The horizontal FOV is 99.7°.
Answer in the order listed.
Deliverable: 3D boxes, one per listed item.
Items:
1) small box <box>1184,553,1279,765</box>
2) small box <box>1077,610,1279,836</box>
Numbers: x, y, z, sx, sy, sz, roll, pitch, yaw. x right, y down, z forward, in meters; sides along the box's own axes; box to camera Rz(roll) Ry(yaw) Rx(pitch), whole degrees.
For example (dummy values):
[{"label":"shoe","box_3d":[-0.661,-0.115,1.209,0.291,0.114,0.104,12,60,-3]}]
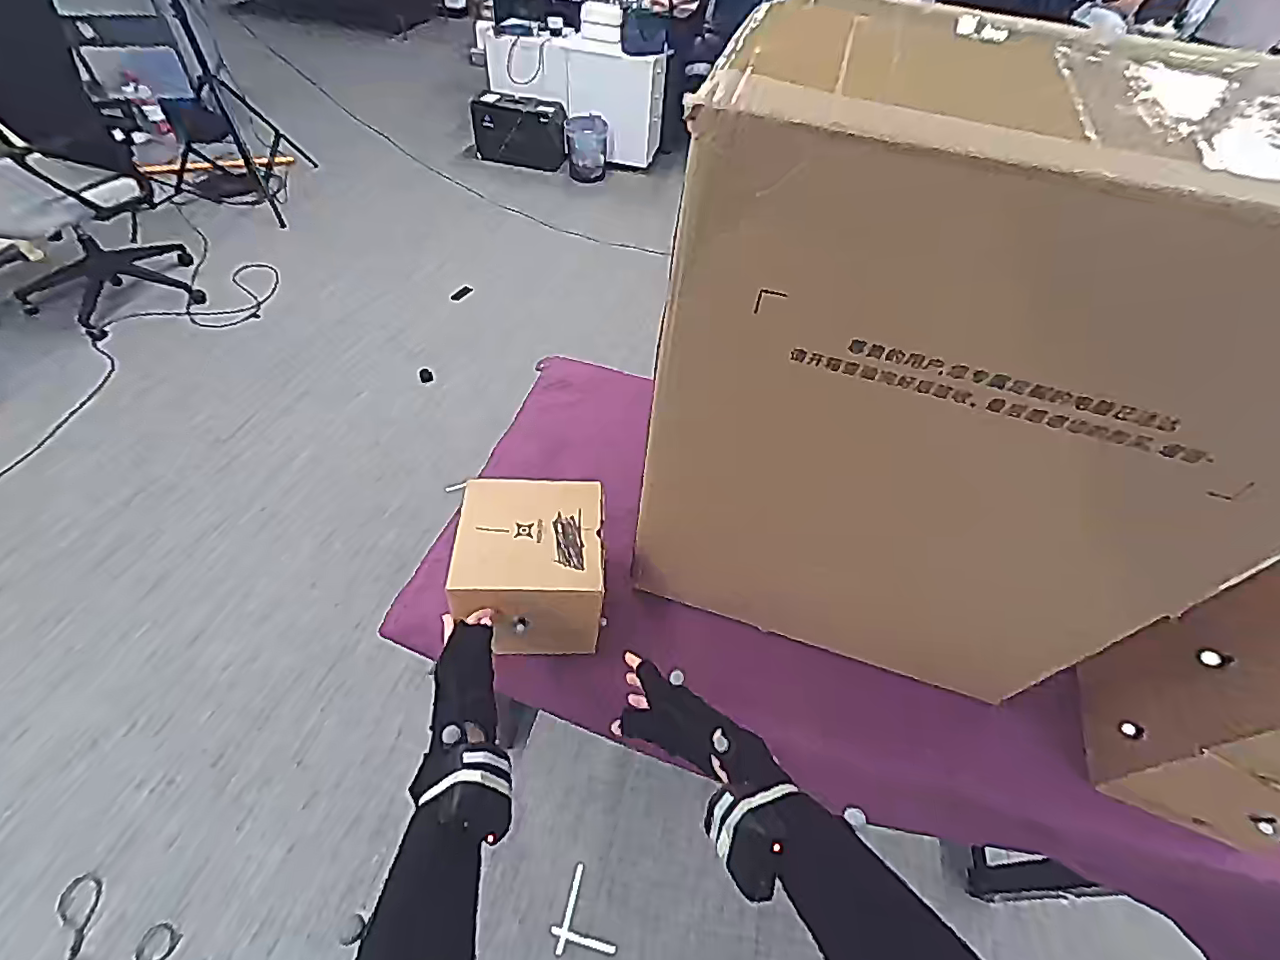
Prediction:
[{"label":"small box","box_3d":[0.695,0.191,0.525,0.168,0.176,0.179,24,53,13]},{"label":"small box","box_3d":[0.675,0.295,0.651,0.168,0.176,0.179,20,50,11]}]
